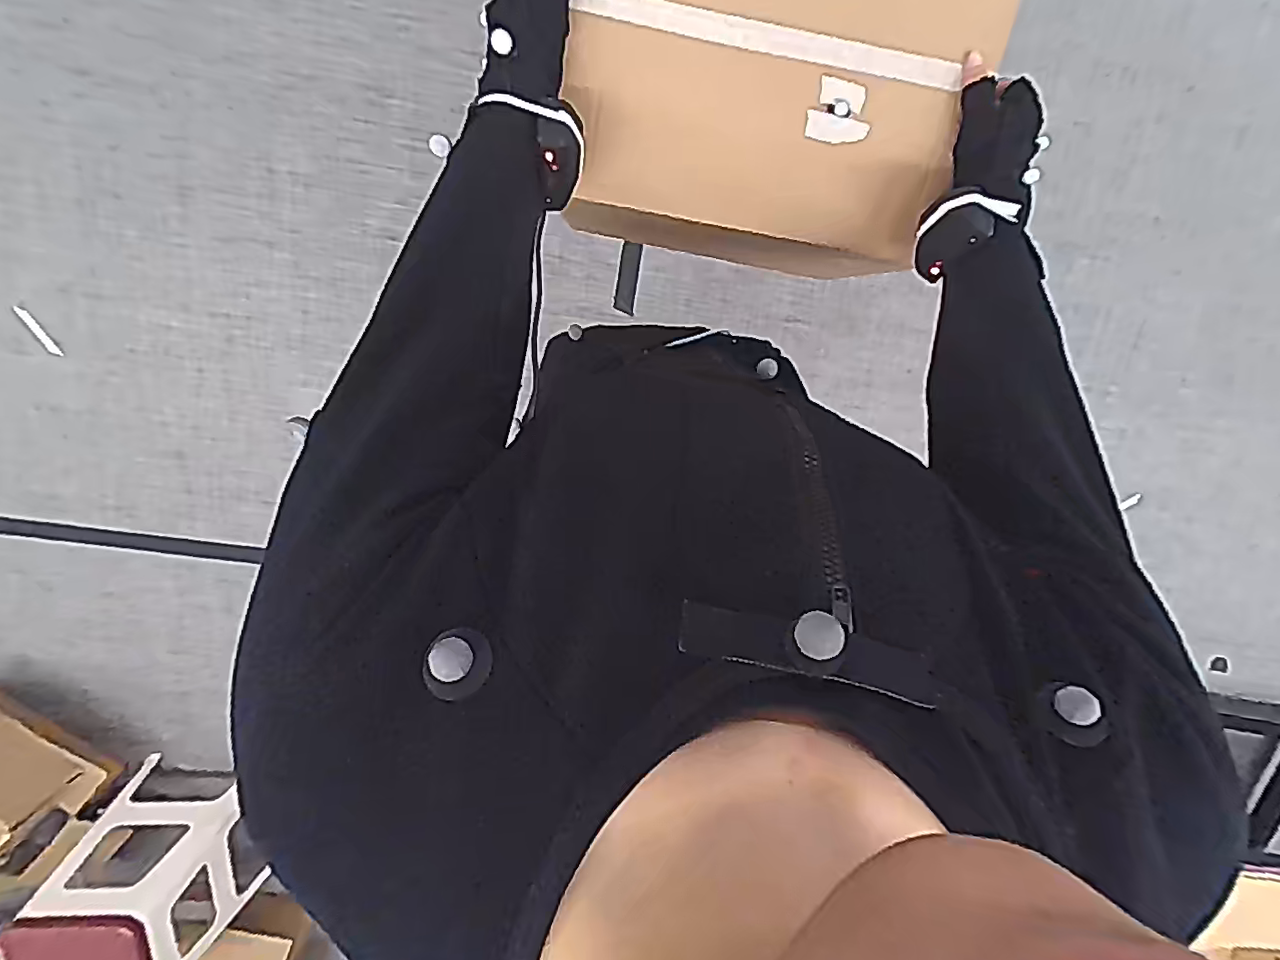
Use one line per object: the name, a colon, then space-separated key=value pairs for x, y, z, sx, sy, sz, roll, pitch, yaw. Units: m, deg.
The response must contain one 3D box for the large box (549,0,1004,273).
large box: x=0.121 y=-0.446 z=0.646 sx=0.408 sy=0.320 sz=0.320 roll=9 pitch=109 yaw=-5
